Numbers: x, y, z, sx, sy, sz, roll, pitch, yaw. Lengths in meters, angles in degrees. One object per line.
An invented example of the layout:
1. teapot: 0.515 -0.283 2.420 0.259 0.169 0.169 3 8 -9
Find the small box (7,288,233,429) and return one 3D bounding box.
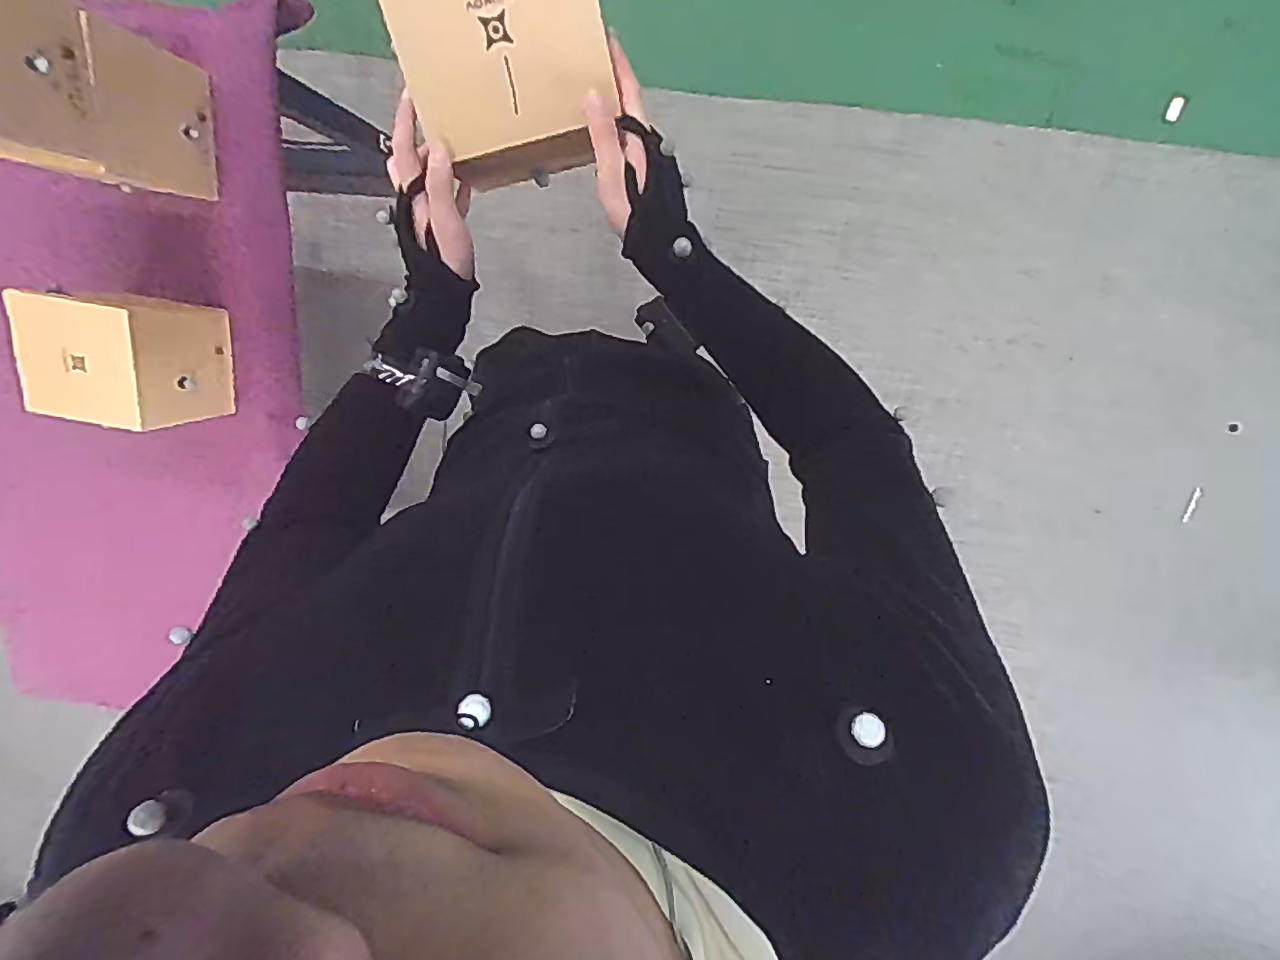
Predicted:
1. small box: -0.744 -0.185 0.802 0.179 0.176 0.168 10 108 3

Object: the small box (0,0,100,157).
1. small box: -0.717 -0.444 0.543 0.179 0.176 0.168 9 109 2

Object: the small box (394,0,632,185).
1. small box: -0.107 -0.390 0.490 0.168 0.176 0.179 -12 112 3
